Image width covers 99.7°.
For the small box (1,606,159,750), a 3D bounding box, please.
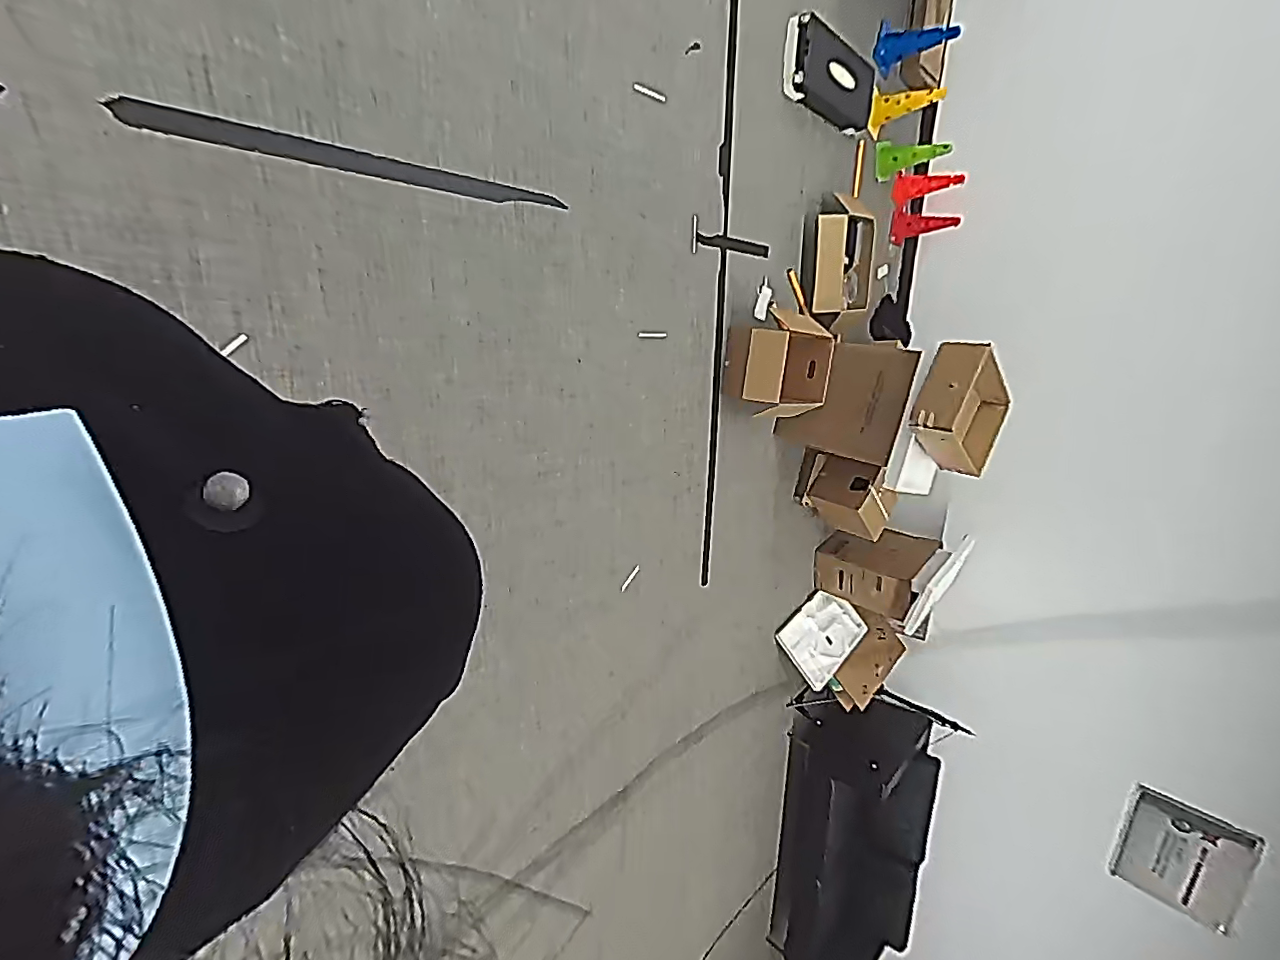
[{"bbox_3d":[-1.109,0.385,1.082,0.168,0.176,0.179,-28,121,-39],"label":"small box"}]
